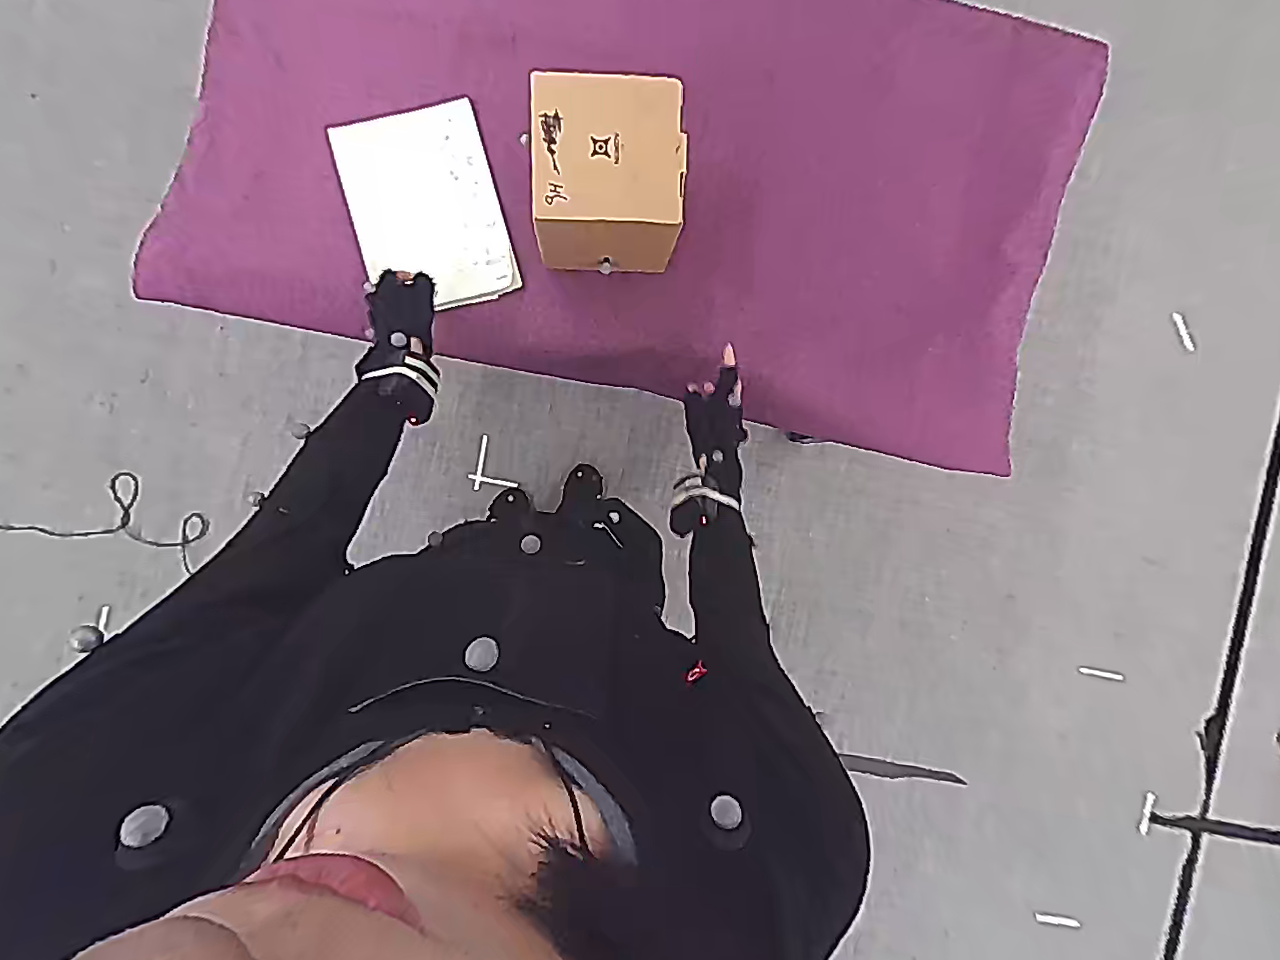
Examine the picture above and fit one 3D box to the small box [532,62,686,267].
[{"bbox_3d":[-0.043,-0.385,0.693,0.179,0.176,0.168,0,91,-6],"label":"small box"}]
